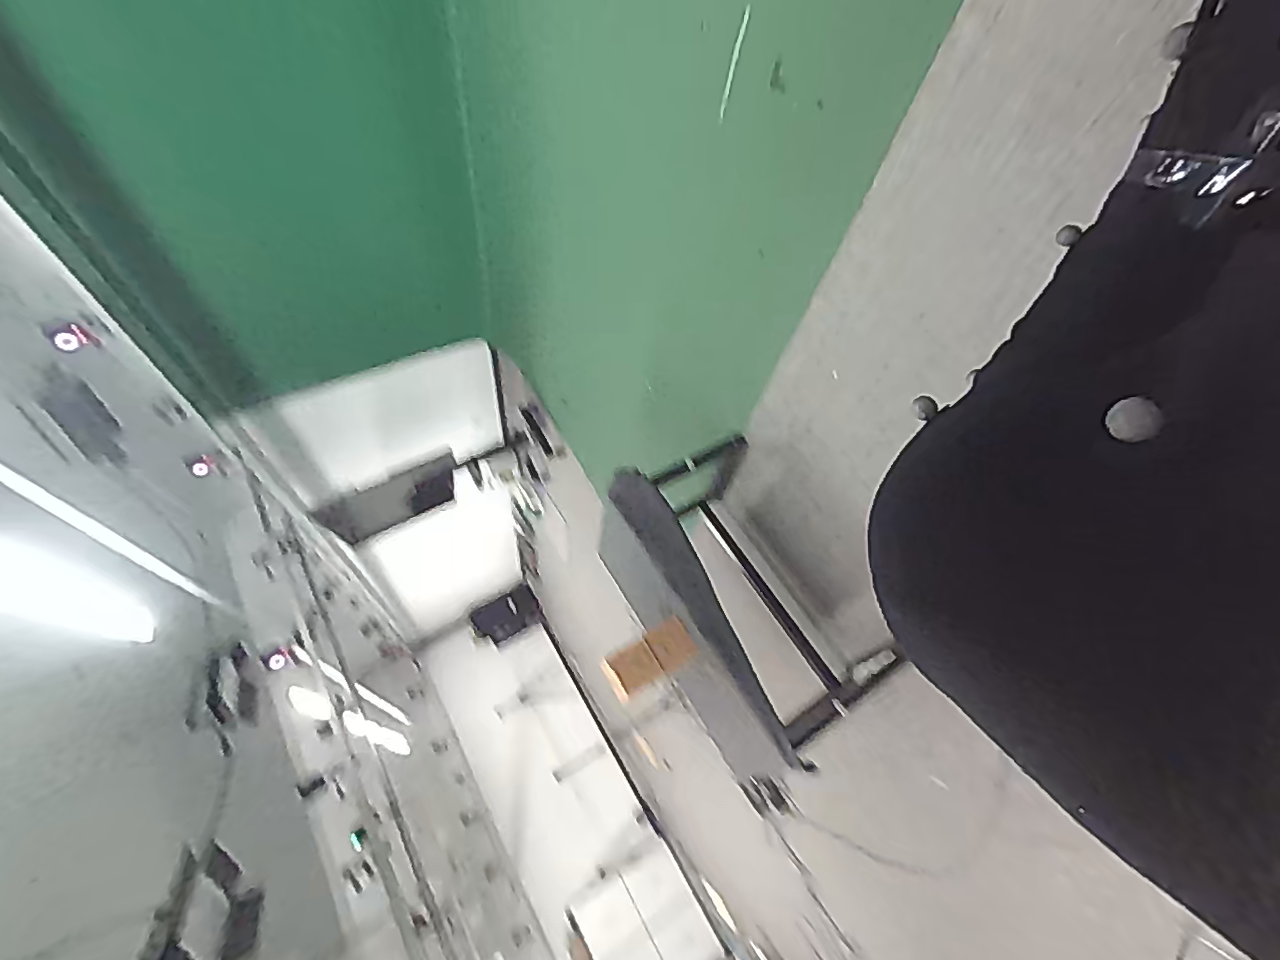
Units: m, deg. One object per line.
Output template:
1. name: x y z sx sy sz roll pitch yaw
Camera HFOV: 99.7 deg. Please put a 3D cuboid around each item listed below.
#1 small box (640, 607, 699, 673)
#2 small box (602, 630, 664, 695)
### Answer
1. small box: 0.109 0.635 2.148 0.179 0.176 0.168 57 156 21
2. small box: -0.025 0.701 2.083 0.168 0.176 0.179 56 155 20
